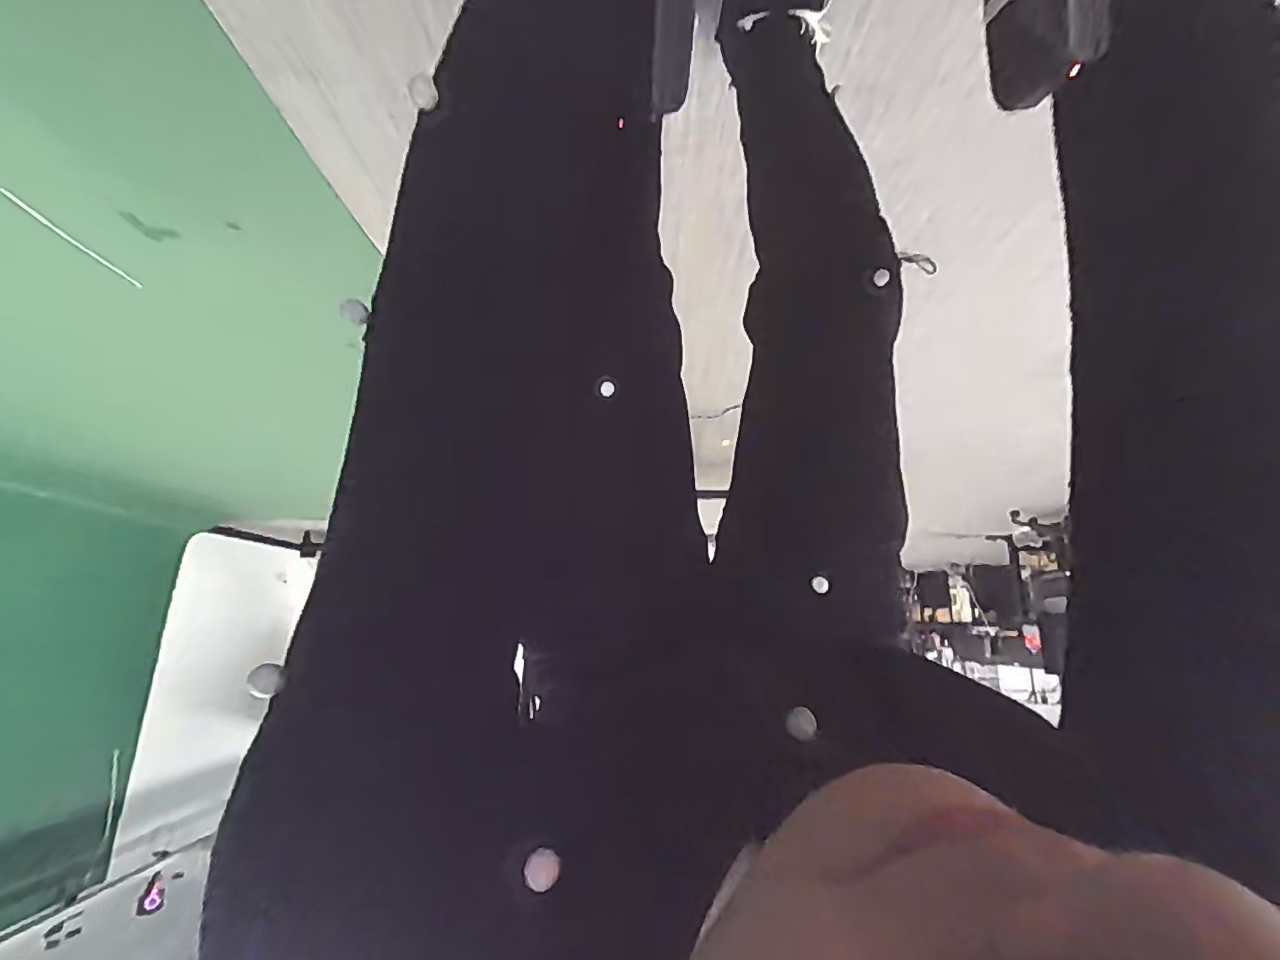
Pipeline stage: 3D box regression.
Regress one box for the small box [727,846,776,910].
[{"bbox_3d":[0.425,1.515,2.084,0.168,0.176,0.179,0,166,5],"label":"small box"}]
